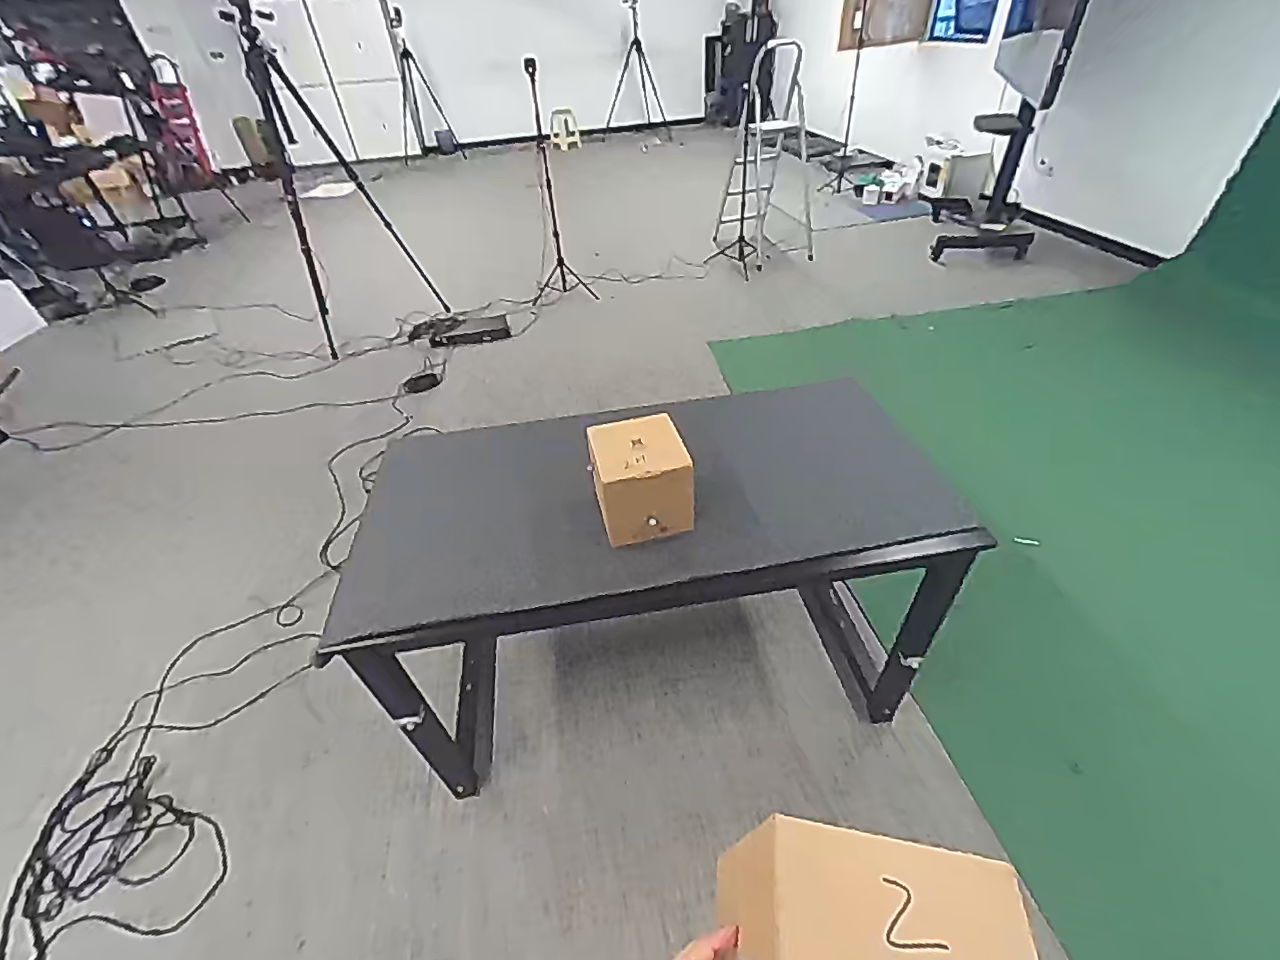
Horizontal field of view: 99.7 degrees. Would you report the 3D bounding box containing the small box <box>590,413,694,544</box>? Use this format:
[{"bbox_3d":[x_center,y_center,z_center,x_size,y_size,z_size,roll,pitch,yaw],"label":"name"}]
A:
[{"bbox_3d":[0.003,-0.004,1.048,0.168,0.176,0.179,-12,40,-7],"label":"small box"}]
